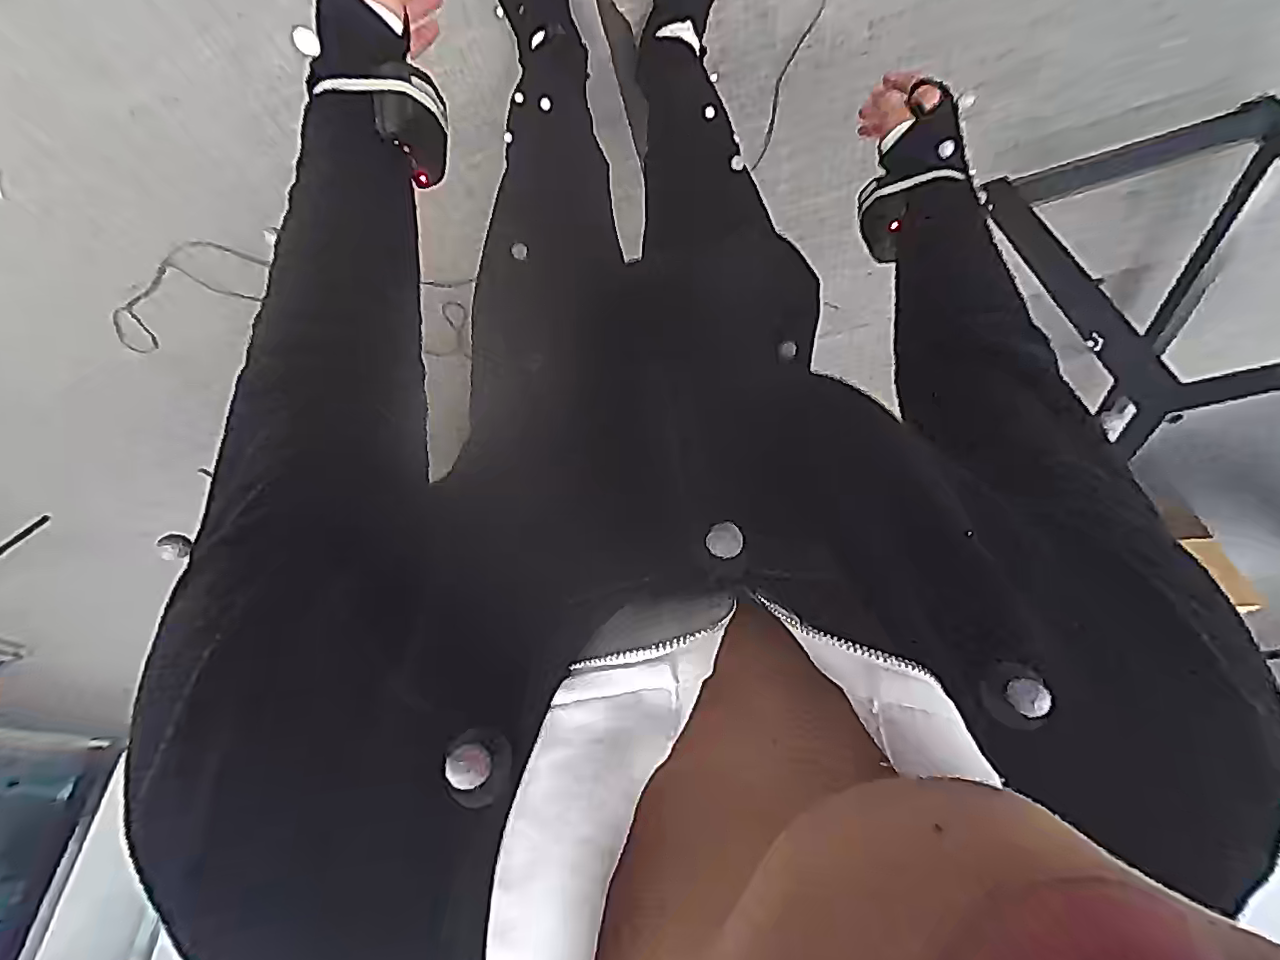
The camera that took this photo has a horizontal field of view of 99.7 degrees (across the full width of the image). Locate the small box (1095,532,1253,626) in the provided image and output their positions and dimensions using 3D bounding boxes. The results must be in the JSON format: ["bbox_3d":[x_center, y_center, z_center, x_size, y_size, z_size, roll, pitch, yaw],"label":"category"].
[{"bbox_3d":[1.266,0.238,1.302,0.179,0.176,0.168,-3,146,-4],"label":"small box"}]
